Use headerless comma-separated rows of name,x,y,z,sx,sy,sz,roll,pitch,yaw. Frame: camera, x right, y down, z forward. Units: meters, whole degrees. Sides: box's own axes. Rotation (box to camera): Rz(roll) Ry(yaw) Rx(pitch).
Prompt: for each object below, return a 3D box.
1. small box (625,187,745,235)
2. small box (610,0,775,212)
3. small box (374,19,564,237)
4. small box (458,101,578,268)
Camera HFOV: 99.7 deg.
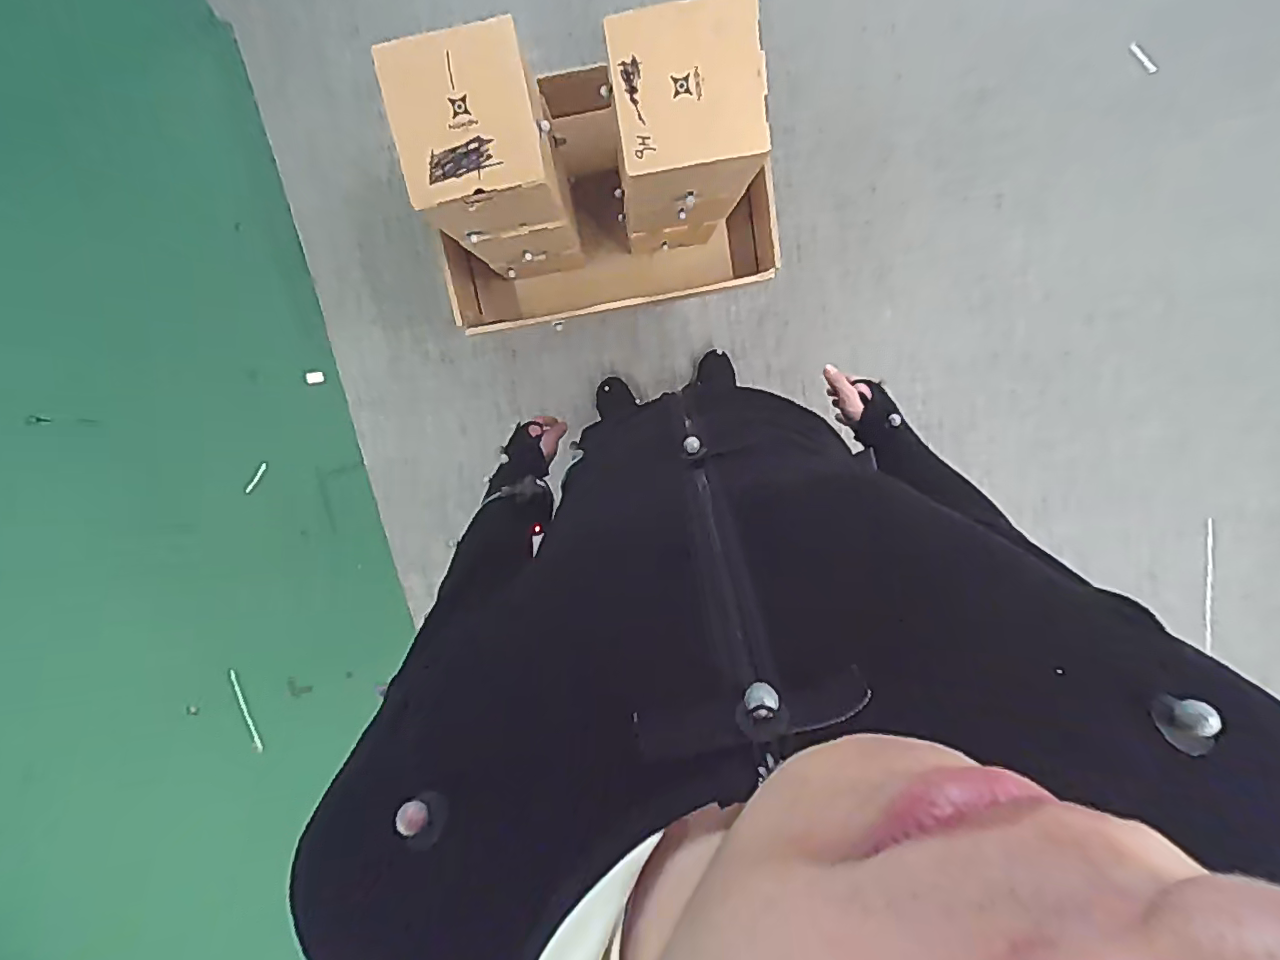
small box,0.058,-0.498,0.851,0.179,0.176,0.168,-8,103,1
small box,0.059,-0.461,0.692,0.179,0.176,0.168,-9,103,1
small box,-0.201,-0.426,0.693,0.168,0.176,0.179,-11,101,1
small box,-0.198,-0.453,0.855,0.168,0.176,0.179,-9,101,2
